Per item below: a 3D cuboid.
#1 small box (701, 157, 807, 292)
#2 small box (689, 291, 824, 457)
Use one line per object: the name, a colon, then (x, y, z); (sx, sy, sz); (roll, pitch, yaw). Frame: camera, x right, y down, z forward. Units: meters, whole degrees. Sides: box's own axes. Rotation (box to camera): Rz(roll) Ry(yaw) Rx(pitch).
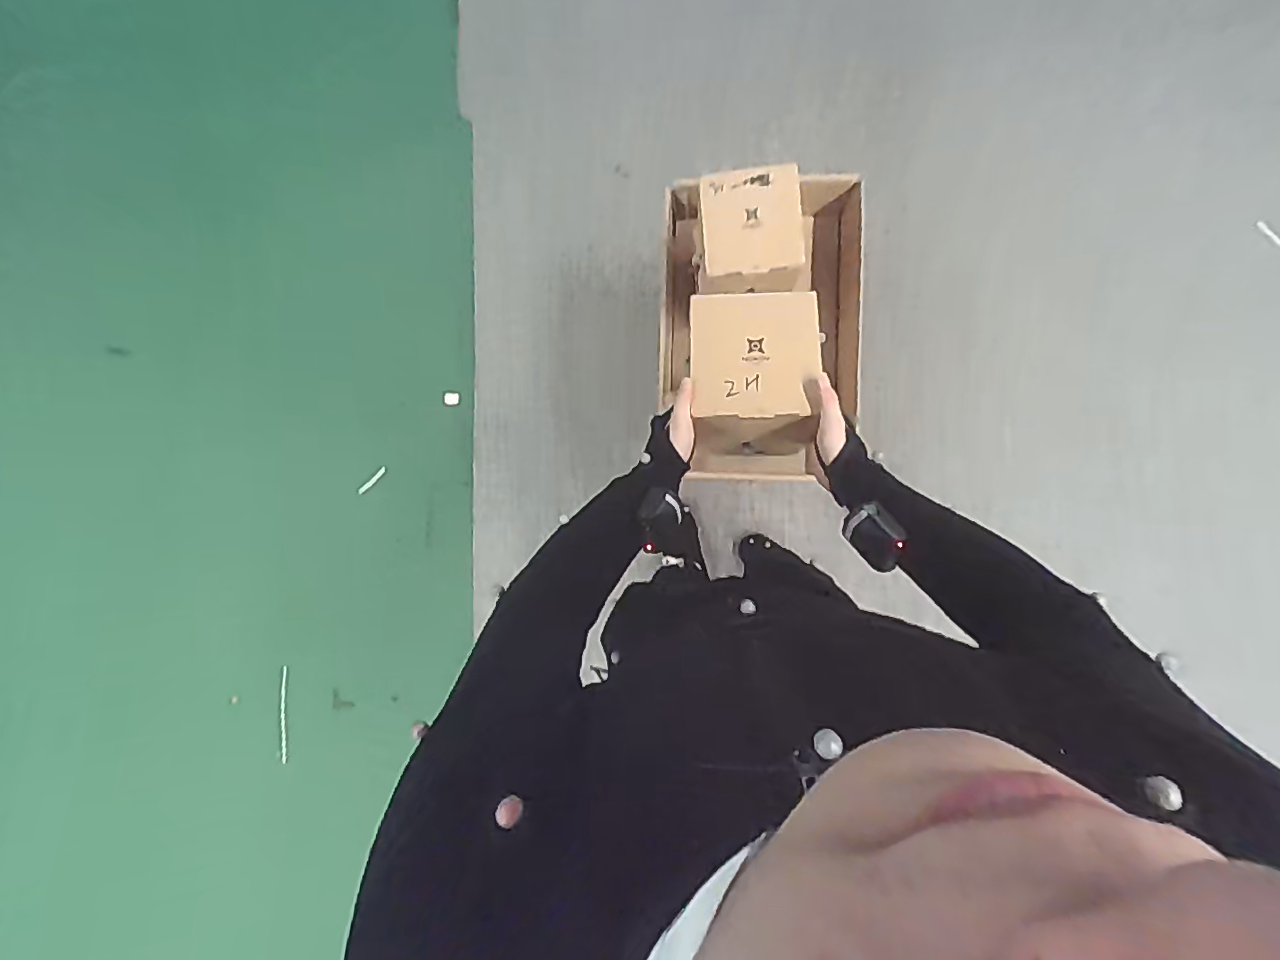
small box: (0.197, -0.438, 0.969); (0.168, 0.176, 0.179); (-4, 90, 6)
small box: (0.154, -0.142, 0.758); (0.168, 0.176, 0.179); (1, 76, 6)
